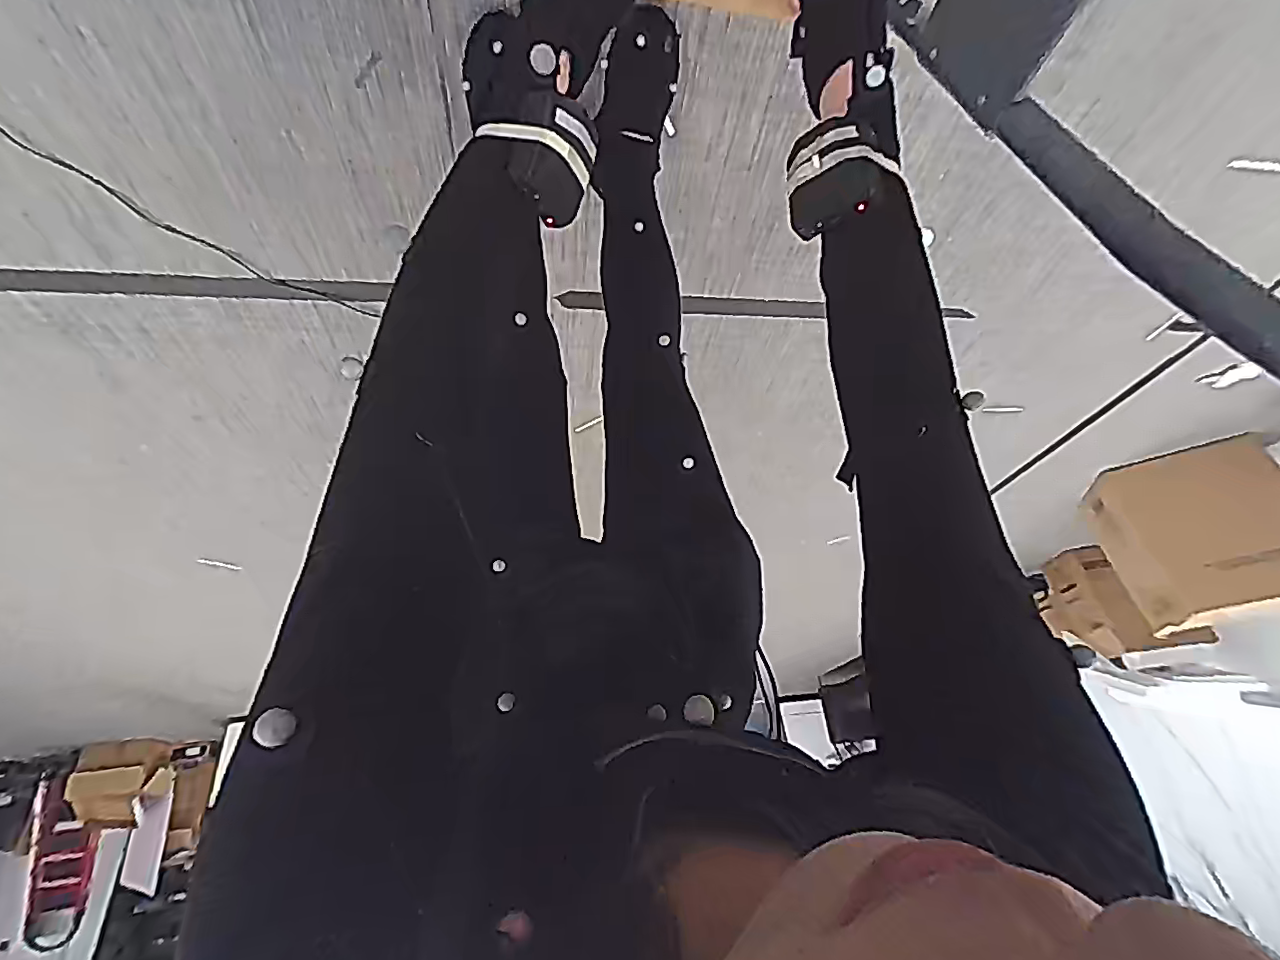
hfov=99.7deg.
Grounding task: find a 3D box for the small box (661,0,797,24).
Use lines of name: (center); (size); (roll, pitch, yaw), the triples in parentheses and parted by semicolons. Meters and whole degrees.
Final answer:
small box: (0.061, -0.514, 0.420); (0.179, 0.176, 0.168); (0, 161, -14)
